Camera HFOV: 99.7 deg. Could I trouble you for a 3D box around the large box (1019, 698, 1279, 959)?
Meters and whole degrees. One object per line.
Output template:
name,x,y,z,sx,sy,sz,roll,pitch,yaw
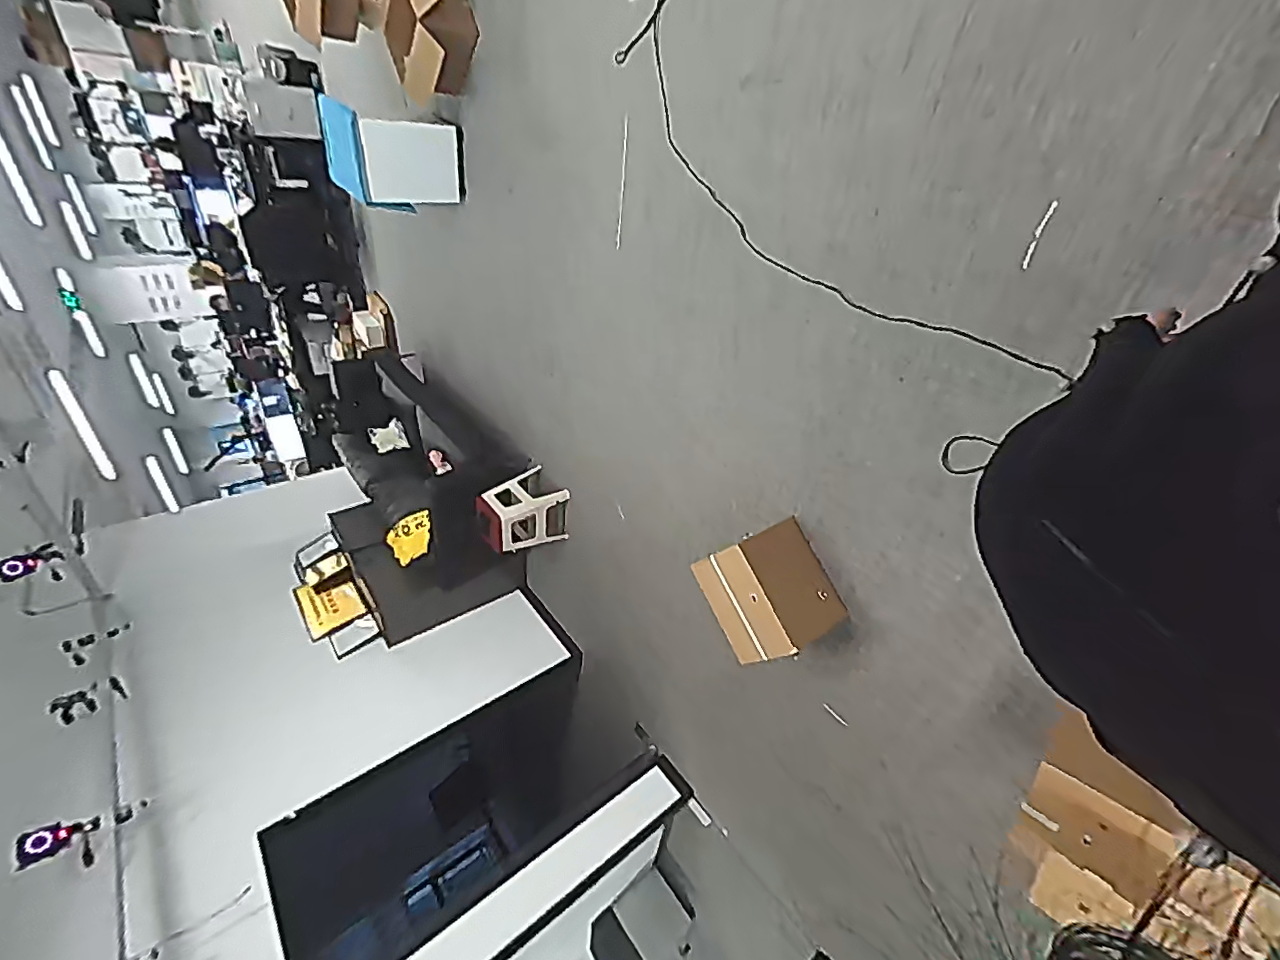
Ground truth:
large box,1.172,0.788,1.230,0.408,0.320,0.320,24,126,45

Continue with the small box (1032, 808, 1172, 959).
small box,0.954,0.832,1.116,0.168,0.176,0.179,26,126,46
